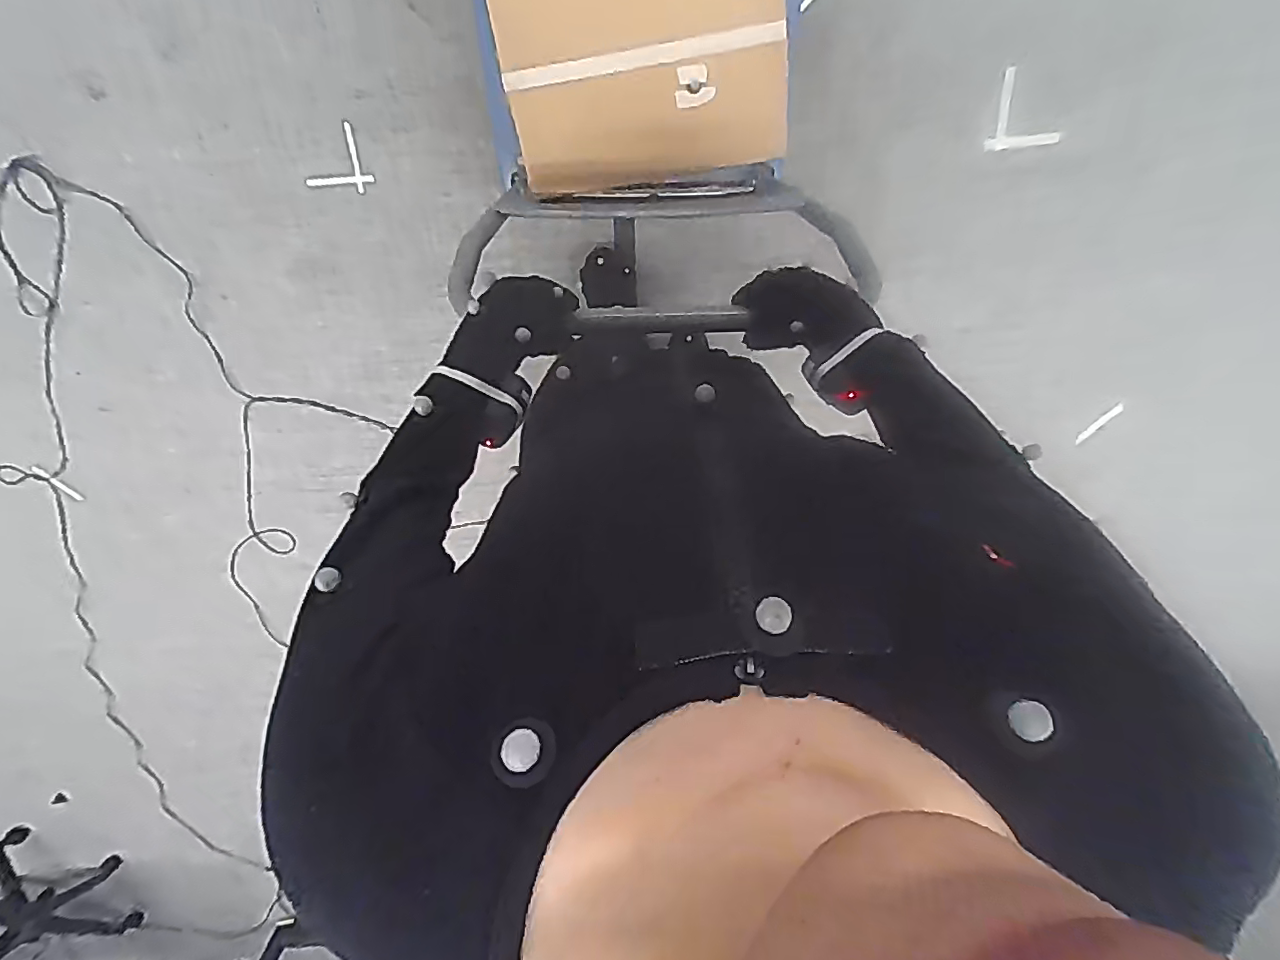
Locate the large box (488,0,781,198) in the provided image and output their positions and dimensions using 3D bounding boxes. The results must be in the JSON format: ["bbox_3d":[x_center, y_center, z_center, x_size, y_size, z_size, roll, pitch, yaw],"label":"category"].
[{"bbox_3d":[-0.006,-0.693,0.905,0.408,0.320,0.320,-9,124,2],"label":"large box"}]
